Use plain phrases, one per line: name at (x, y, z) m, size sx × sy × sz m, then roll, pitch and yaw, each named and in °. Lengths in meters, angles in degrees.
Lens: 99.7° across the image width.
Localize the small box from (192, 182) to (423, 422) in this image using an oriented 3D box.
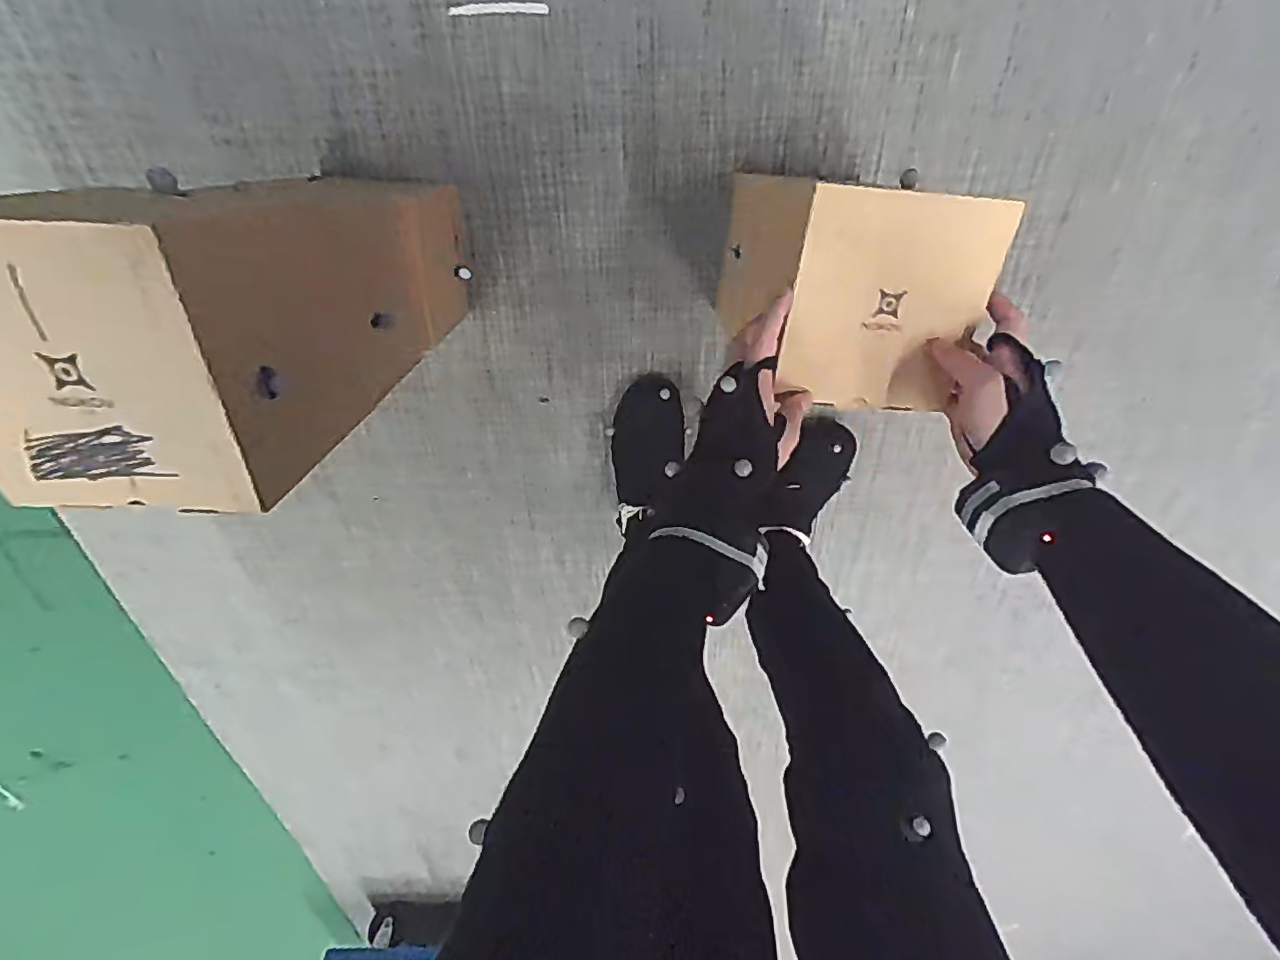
small box at (-0.325, -0.175, 0.518) m, size 0.168 × 0.176 × 0.179 m, roll 3°, pitch 123°, yaw -2°

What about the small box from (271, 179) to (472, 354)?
small box at (-0.320, -0.264, 0.655) m, size 0.179 × 0.176 × 0.168 m, roll 3°, pitch 122°, yaw -2°

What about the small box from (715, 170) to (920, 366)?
small box at (0.191, -0.261, 0.651) m, size 0.168 × 0.176 × 0.179 m, roll 10°, pitch 122°, yaw -3°

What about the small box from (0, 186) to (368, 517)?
small box at (-0.316, -0.095, 0.374) m, size 0.168 × 0.176 × 0.179 m, roll 2°, pitch 121°, yaw -1°
